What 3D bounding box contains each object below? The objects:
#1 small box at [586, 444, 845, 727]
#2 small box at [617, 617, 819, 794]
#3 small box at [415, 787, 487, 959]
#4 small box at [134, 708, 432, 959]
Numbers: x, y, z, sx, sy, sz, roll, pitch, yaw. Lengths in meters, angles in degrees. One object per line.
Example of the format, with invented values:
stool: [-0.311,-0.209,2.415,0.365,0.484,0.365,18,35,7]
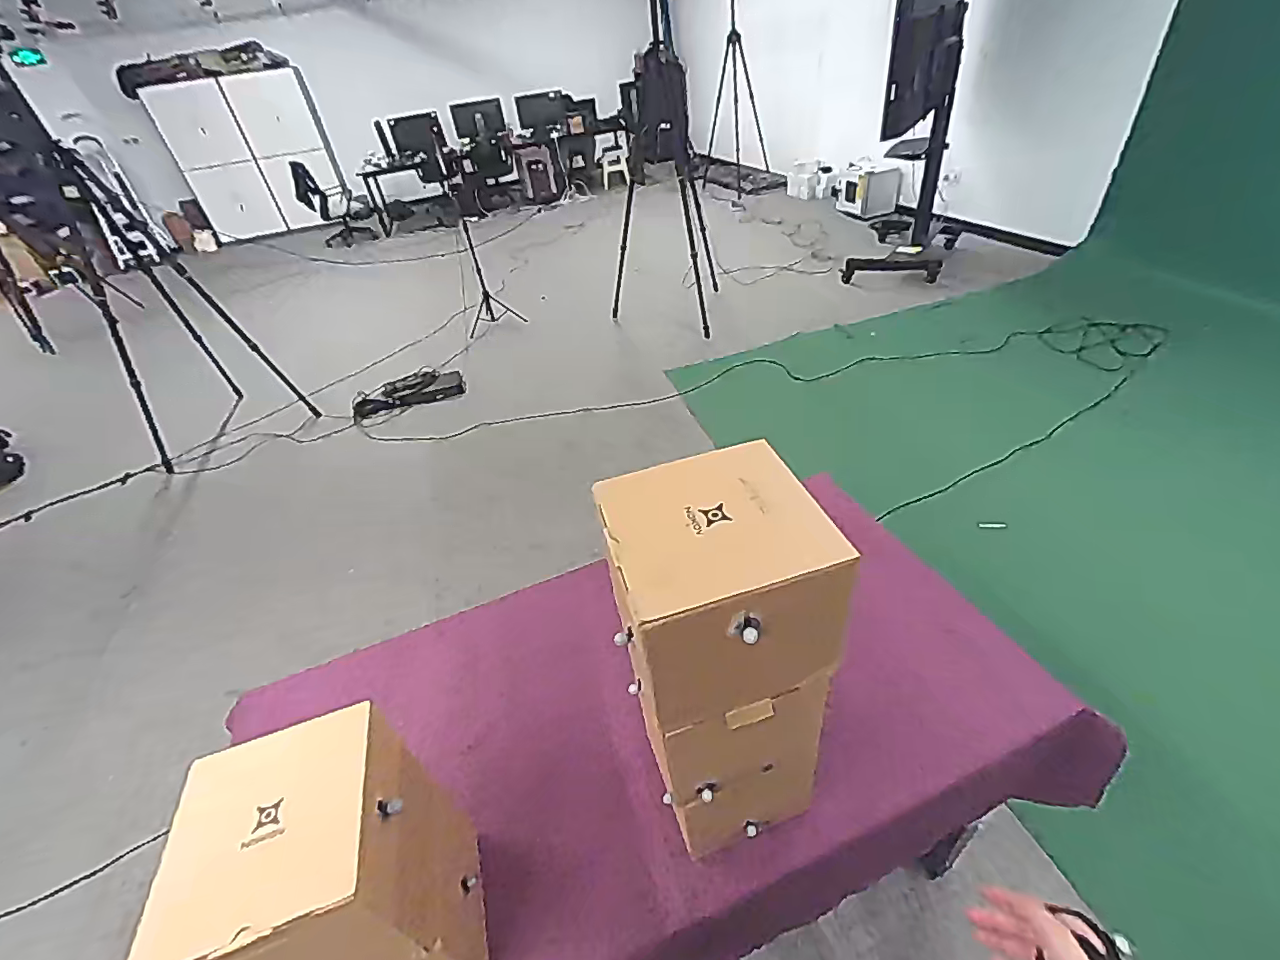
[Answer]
small box: [0.063,0.097,0.500,0.179,0.176,0.168,-15,40,-7]
small box: [0.081,0.220,0.605,0.168,0.176,0.179,-16,38,-8]
small box: [-0.282,0.493,0.611,0.179,0.176,0.168,-18,38,-10]
small box: [-0.310,0.362,0.517,0.168,0.176,0.179,-17,39,-10]
